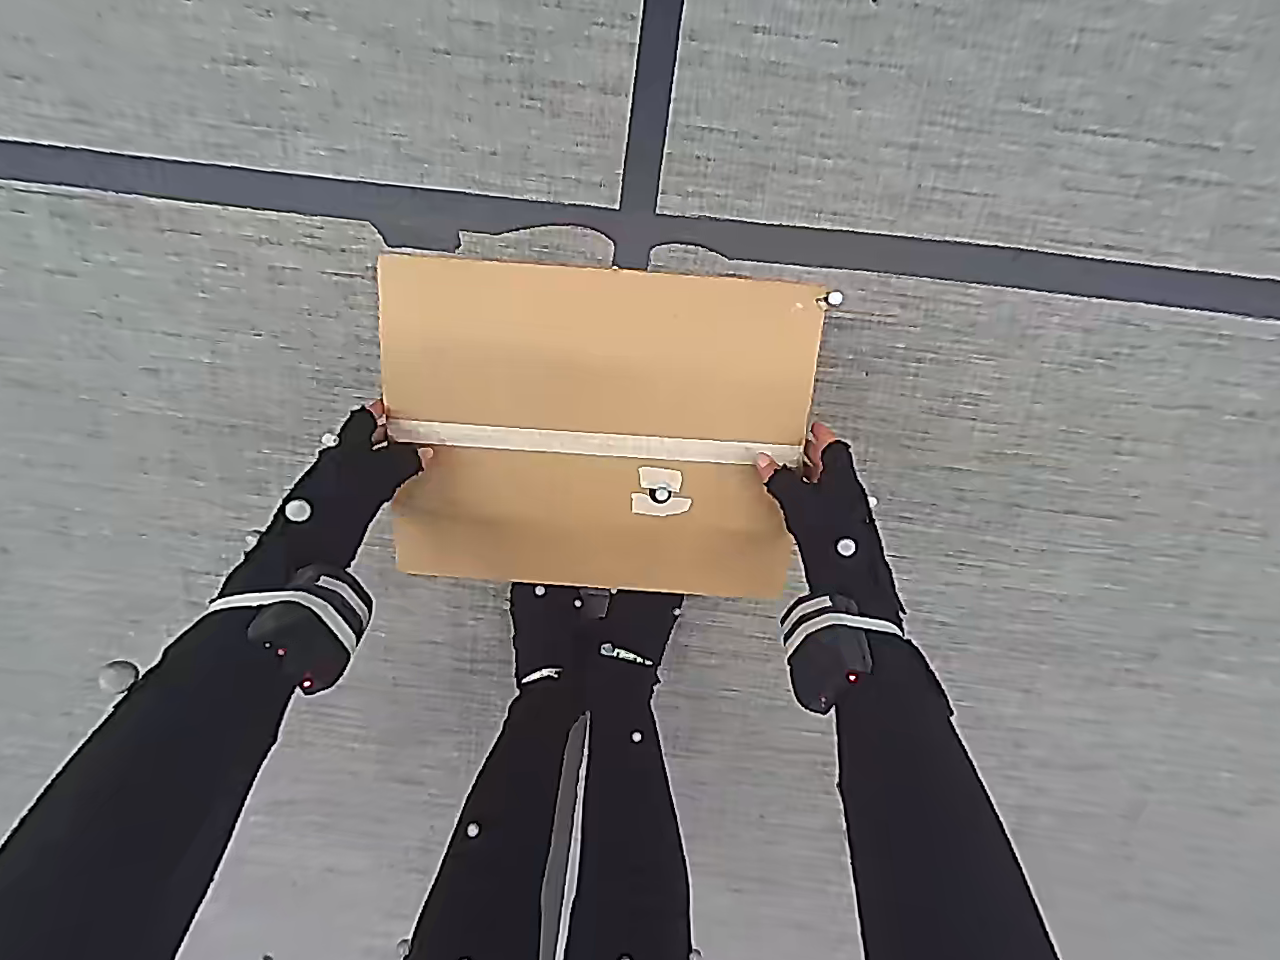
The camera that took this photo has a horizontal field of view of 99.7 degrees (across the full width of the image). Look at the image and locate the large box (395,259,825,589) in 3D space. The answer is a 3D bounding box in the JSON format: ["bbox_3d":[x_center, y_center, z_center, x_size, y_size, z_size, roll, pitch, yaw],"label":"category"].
[{"bbox_3d":[-0.036,-0.079,0.675,0.408,0.320,0.320,4,106,-1],"label":"large box"}]
